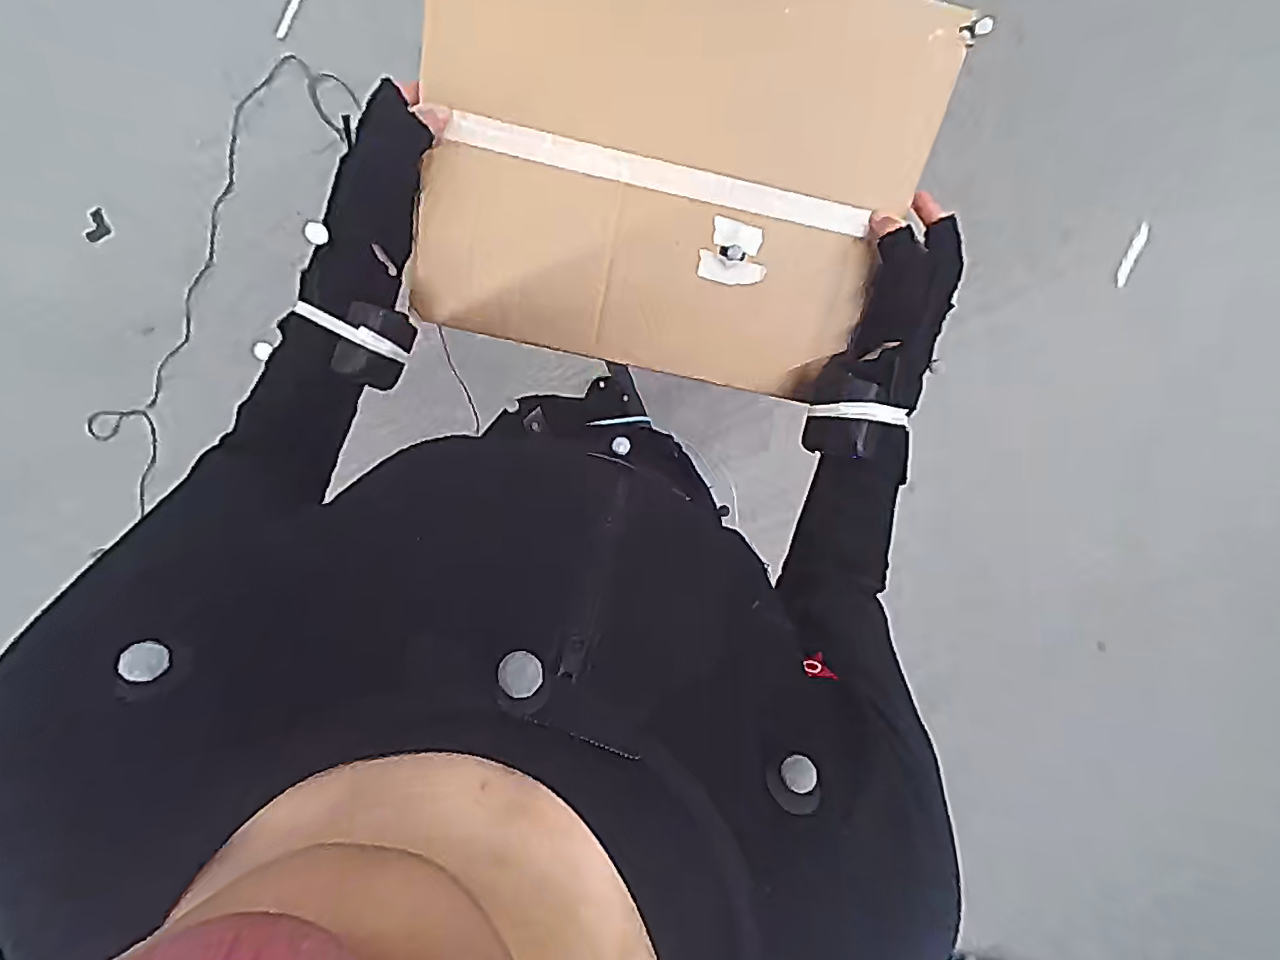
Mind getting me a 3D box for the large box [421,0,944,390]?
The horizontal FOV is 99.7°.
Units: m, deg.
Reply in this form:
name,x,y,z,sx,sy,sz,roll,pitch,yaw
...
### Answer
name,x,y,z,sx,sy,sz,roll,pitch,yaw
large box,0.013,-0.309,0.595,0.408,0.320,0.320,9,112,-5
